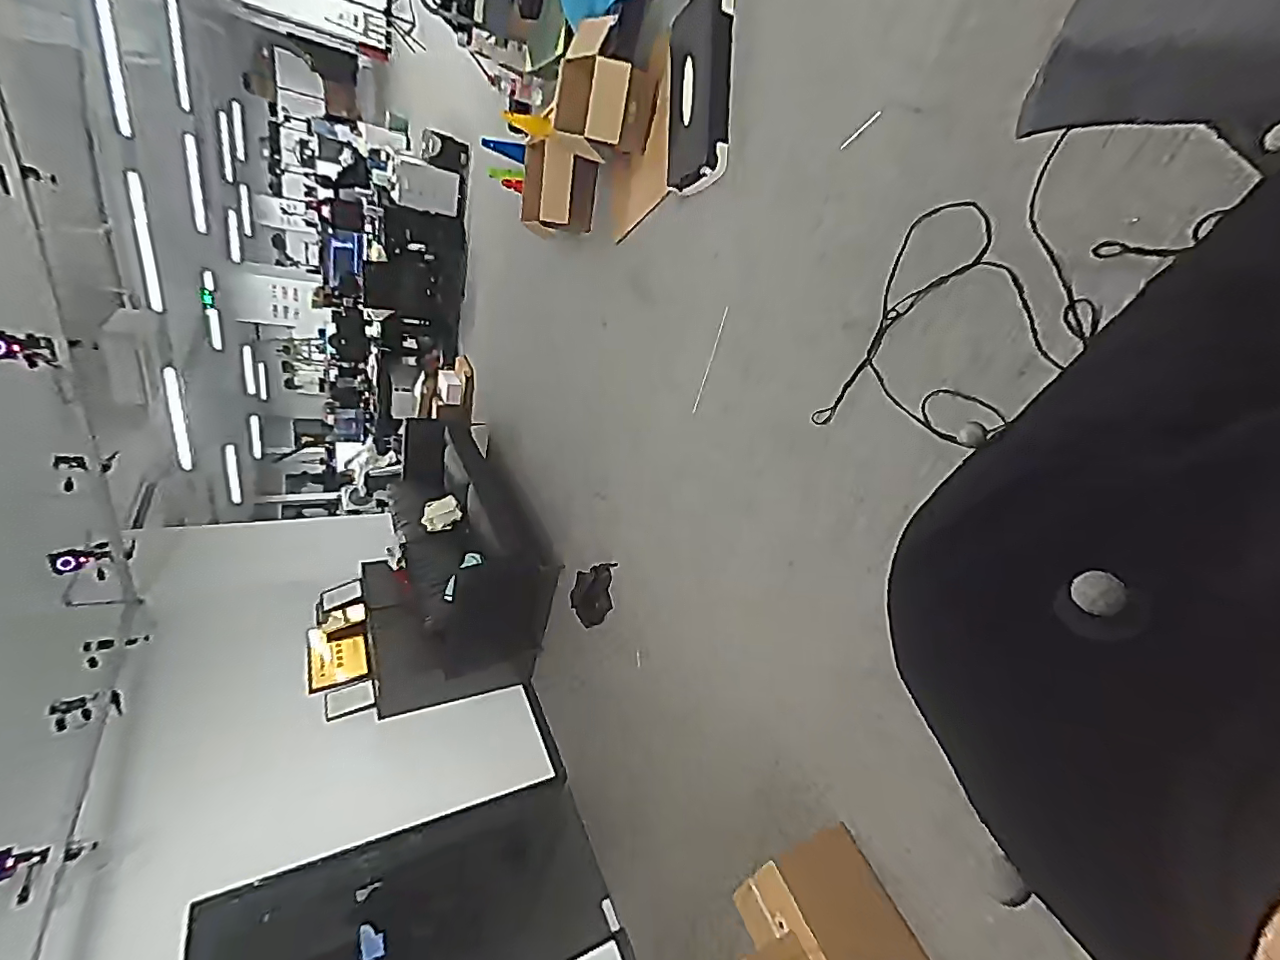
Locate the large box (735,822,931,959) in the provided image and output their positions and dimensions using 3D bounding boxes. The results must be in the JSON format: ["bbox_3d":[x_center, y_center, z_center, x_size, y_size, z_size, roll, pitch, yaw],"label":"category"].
[{"bbox_3d":[0.563,1.341,1.618,0.408,0.320,0.320,57,137,42],"label":"large box"}]
